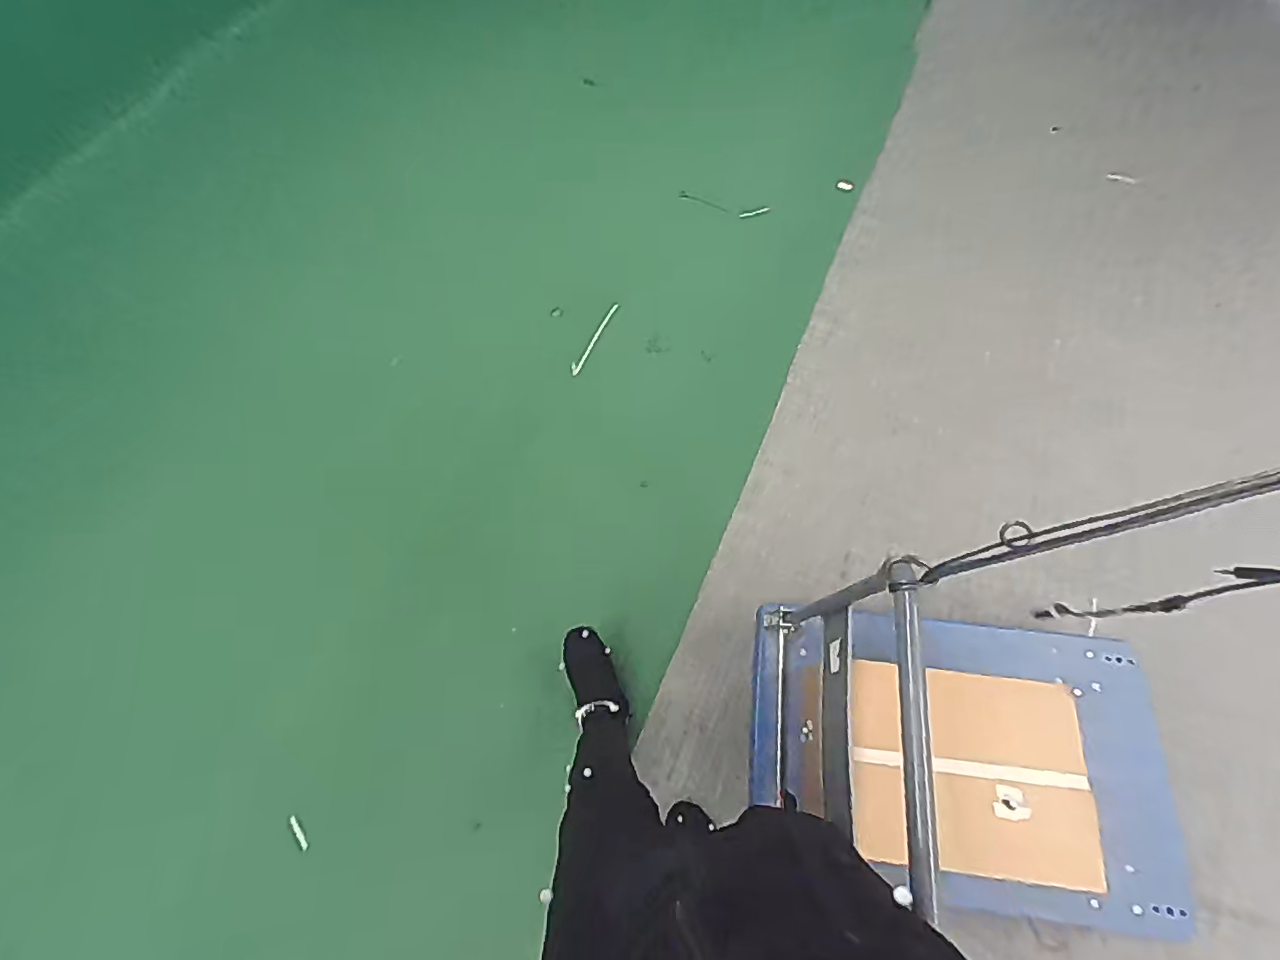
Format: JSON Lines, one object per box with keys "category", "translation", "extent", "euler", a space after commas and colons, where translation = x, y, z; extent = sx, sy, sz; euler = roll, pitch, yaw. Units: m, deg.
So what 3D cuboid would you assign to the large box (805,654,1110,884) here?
{"category": "large box", "translation": [0.562, 0.534, 1.053], "extent": [0.408, 0.320, 0.320], "euler": [6, 69, 4]}
